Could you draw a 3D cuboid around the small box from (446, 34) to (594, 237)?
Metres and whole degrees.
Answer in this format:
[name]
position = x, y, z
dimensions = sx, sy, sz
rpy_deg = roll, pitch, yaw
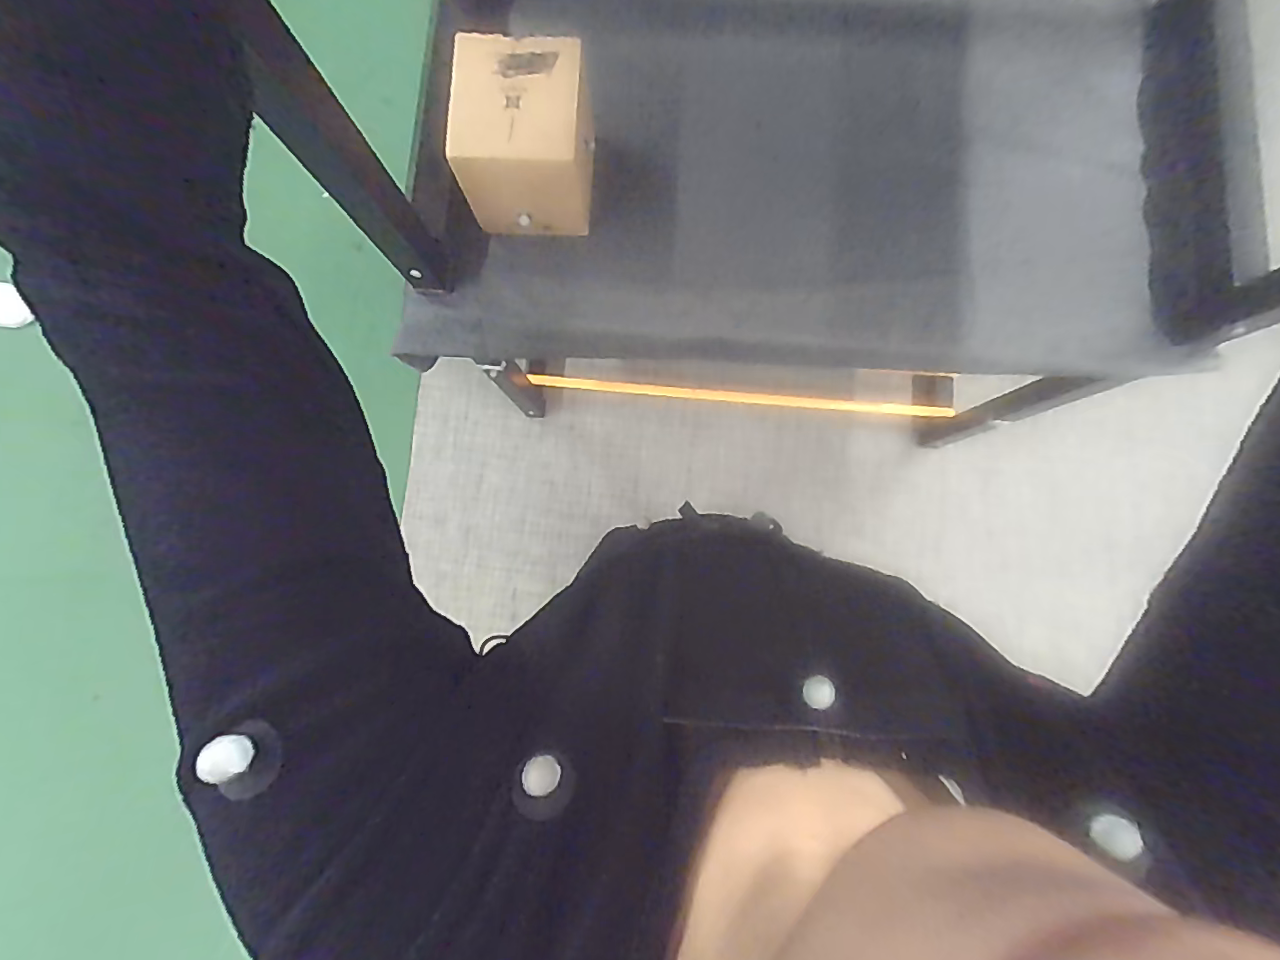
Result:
[small box]
position = -0.156, -0.475, 0.765
dimensions = 0.168, 0.176, 0.179
rpy_deg = 2, 83, 1
